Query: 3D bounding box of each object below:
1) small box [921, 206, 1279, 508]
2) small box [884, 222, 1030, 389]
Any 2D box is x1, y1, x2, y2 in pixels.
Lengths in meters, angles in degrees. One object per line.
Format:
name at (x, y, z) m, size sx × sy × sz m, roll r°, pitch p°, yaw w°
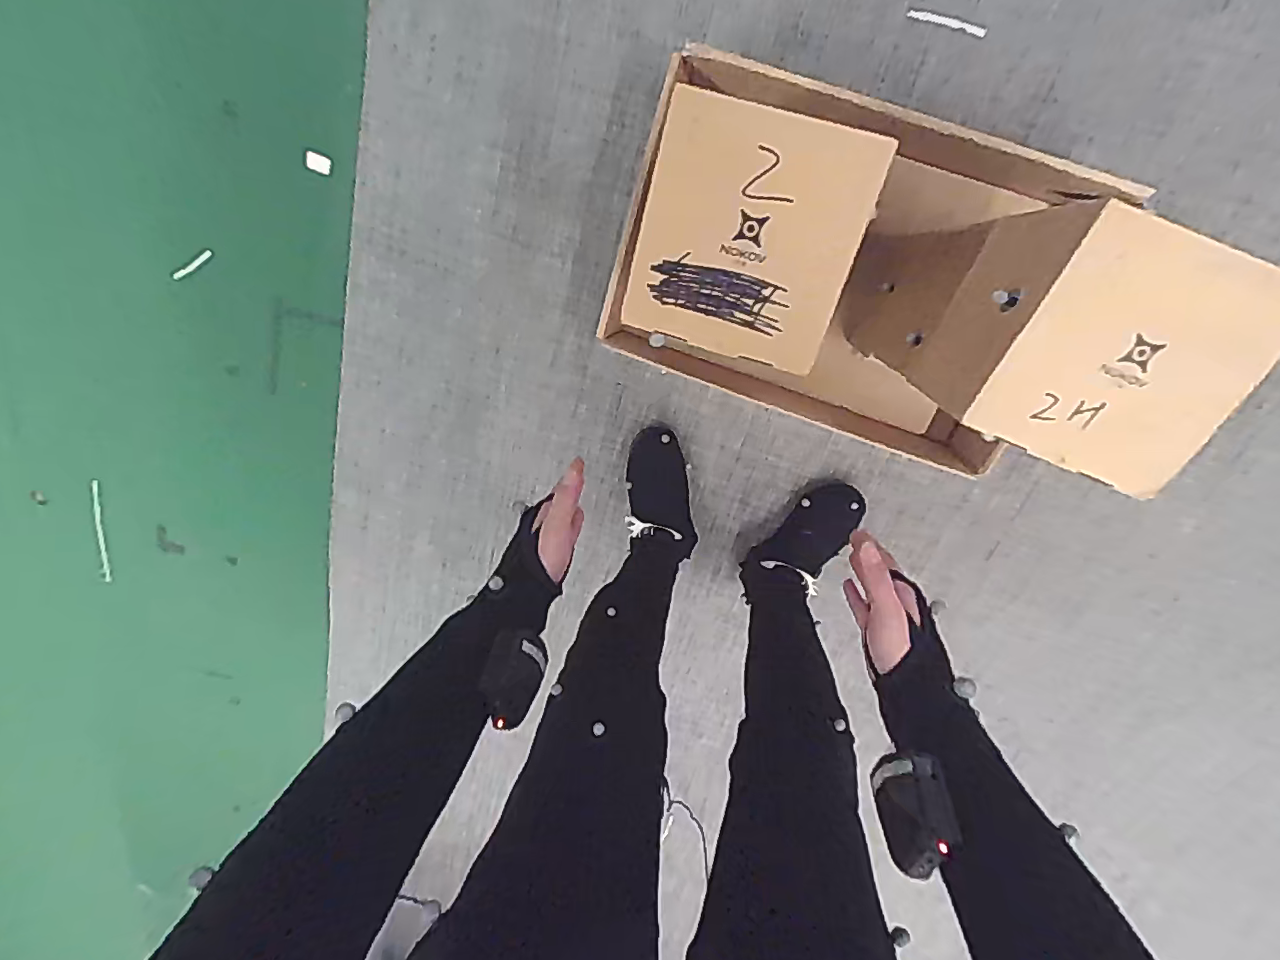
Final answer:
small box at (0.380, -0.111, 0.472) m, size 0.168 × 0.176 × 0.179 m, roll 24°, pitch 115°, yaw 1°
small box at (0.411, -0.173, 0.622) m, size 0.168 × 0.176 × 0.179 m, roll 24°, pitch 115°, yaw 1°
